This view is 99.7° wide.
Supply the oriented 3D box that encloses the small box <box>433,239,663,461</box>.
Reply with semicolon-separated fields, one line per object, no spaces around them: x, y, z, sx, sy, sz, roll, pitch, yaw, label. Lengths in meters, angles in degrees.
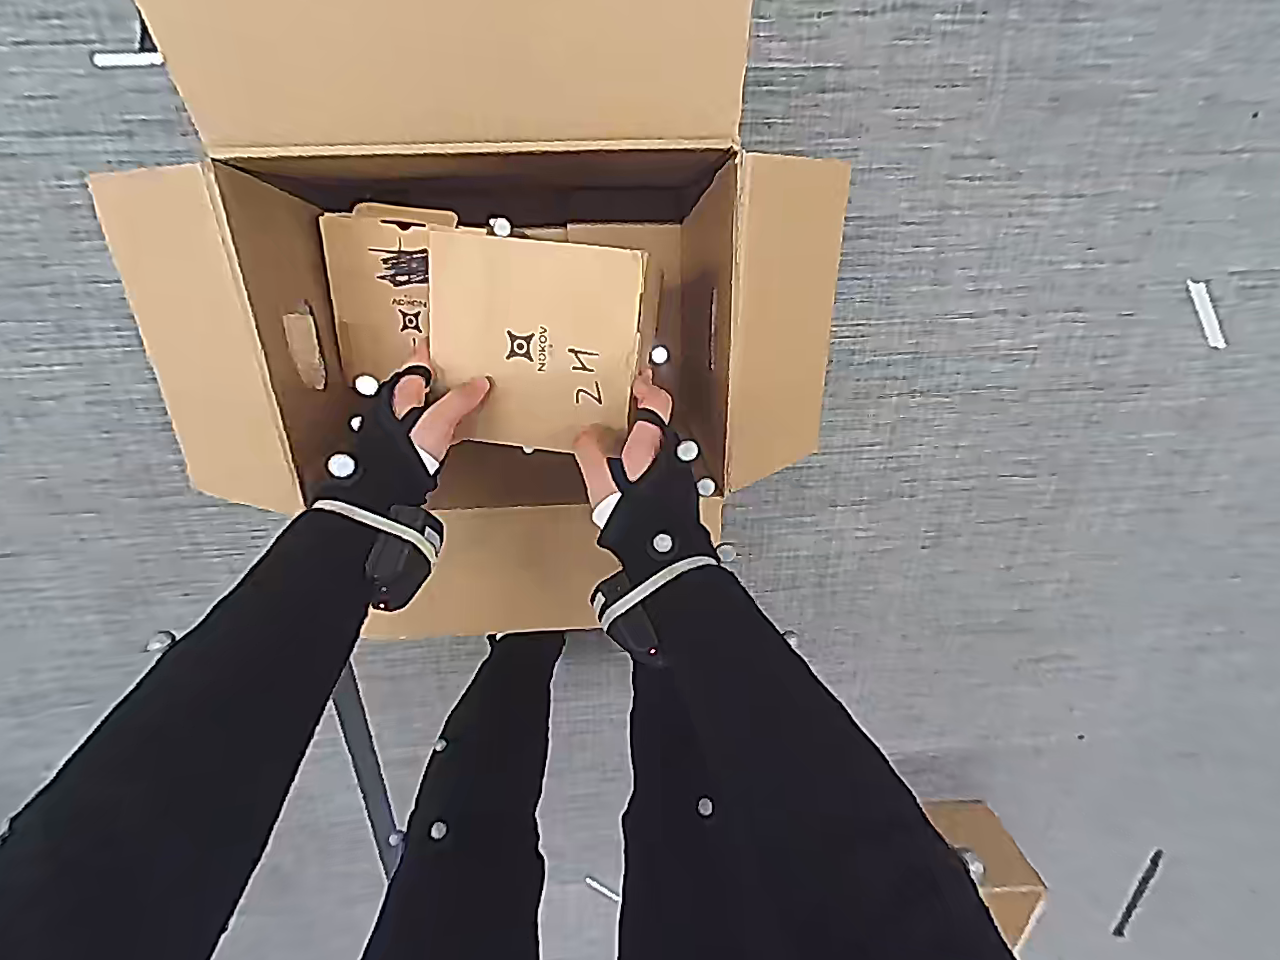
-0.080;-0.126;0.527;0.179;0.176;0.168;8;107;5;small box
